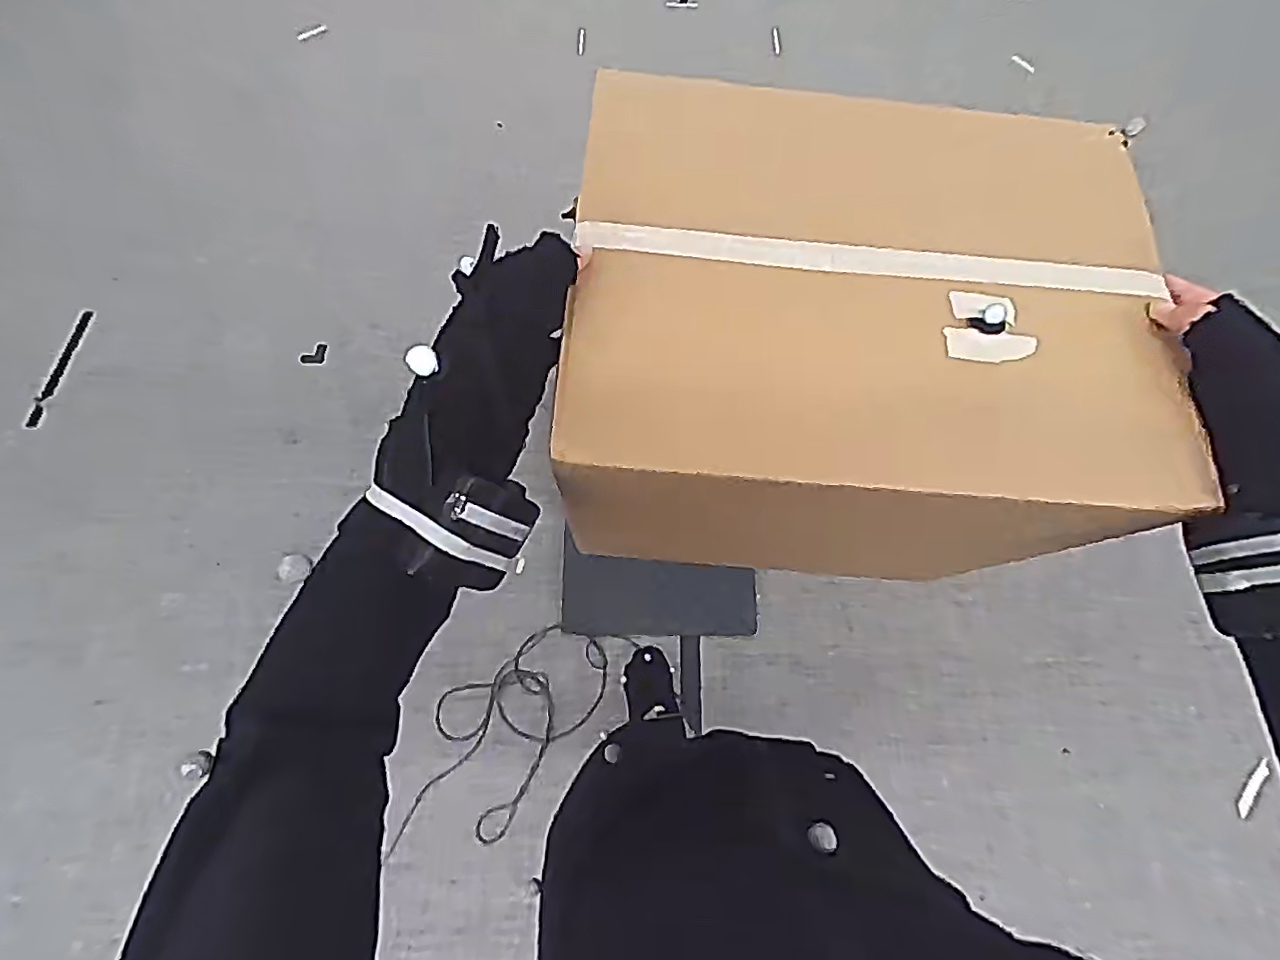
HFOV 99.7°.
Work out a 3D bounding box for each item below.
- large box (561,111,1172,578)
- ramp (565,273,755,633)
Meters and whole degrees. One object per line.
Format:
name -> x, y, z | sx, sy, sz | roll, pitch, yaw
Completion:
large box -> 0.143, -0.090, 0.528 | 0.408, 0.320, 0.320 | 5, 72, -2
ramp -> 0.052, -0.103, 1.463 | 0.509, 0.206, 0.991 | -1, 69, -3
